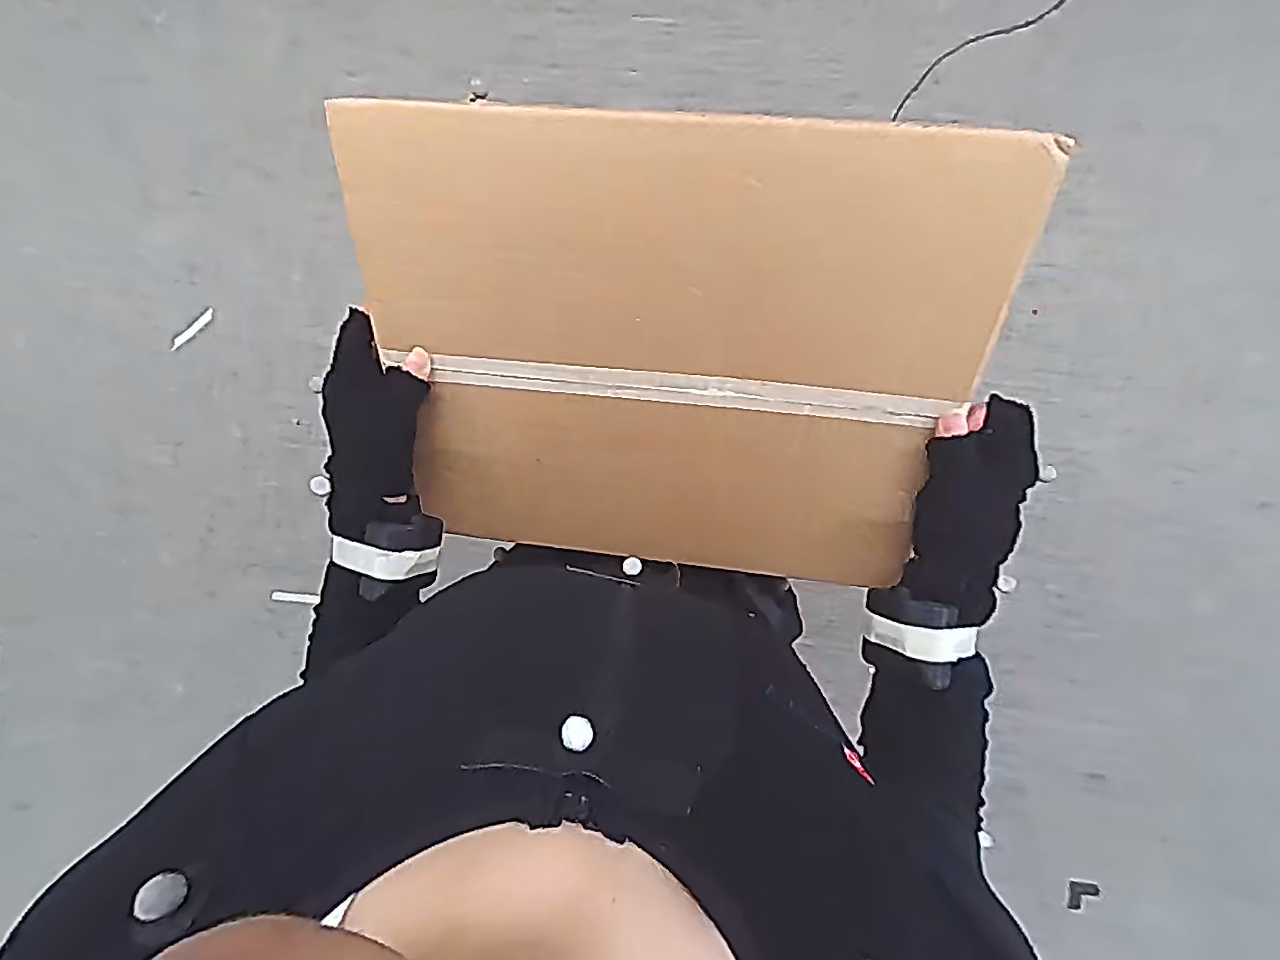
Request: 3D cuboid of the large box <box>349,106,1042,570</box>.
[{"bbox_3d":[0.032,-0.151,0.509,0.408,0.320,0.320,7,124,6],"label":"large box"}]
